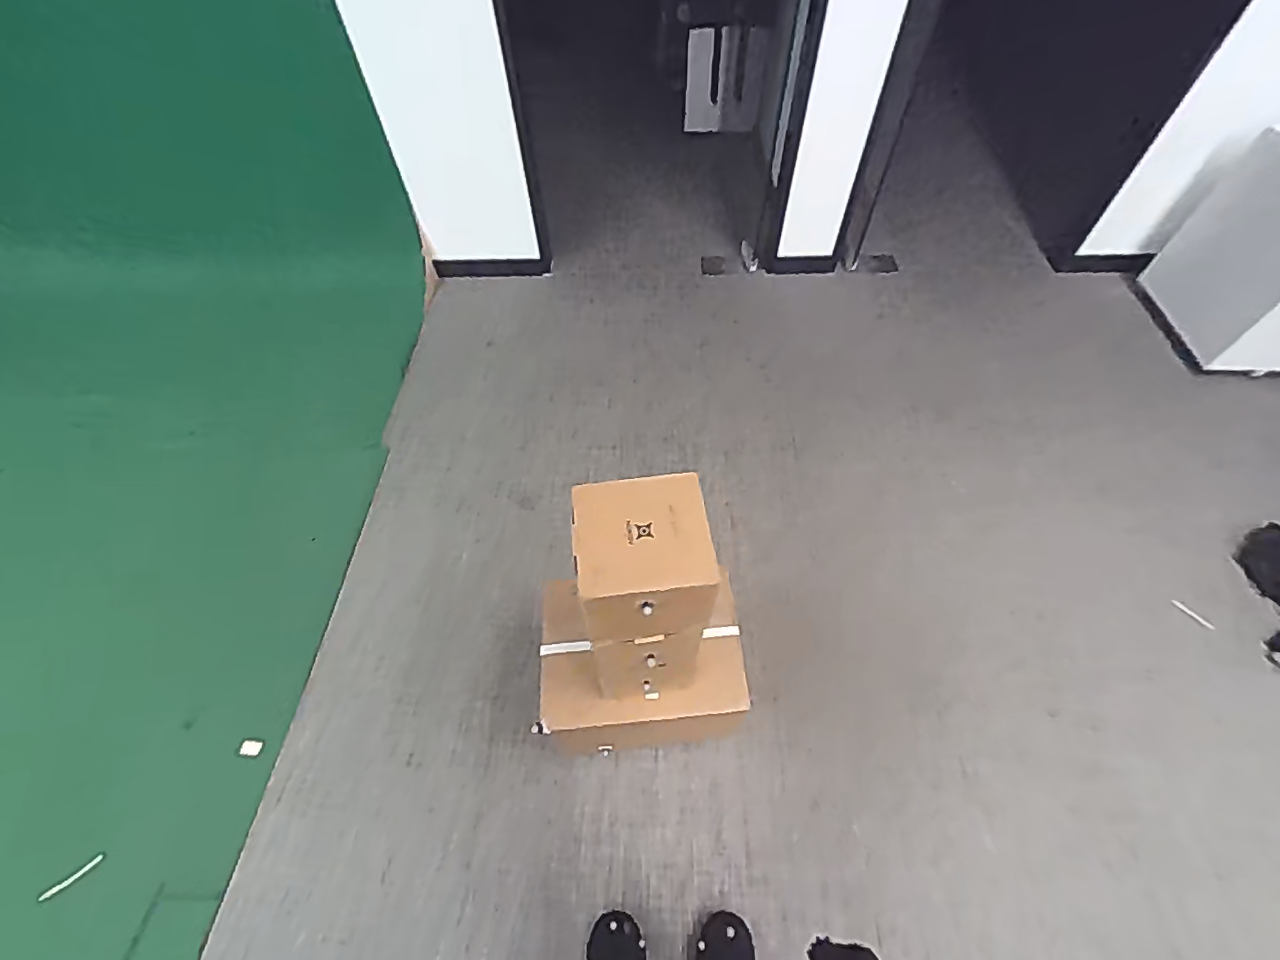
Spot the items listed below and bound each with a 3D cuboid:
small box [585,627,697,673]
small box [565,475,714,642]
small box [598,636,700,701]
[{"bbox_3d":[-0.005,0.206,0.886,0.168,0.176,0.179,-8,56,-4],"label":"small box"},{"bbox_3d":[-0.004,0.114,0.752,0.179,0.176,0.168,-6,56,-4],"label":"small box"},{"bbox_3d":[0.003,0.303,1.017,0.179,0.176,0.168,-9,56,-6],"label":"small box"}]
